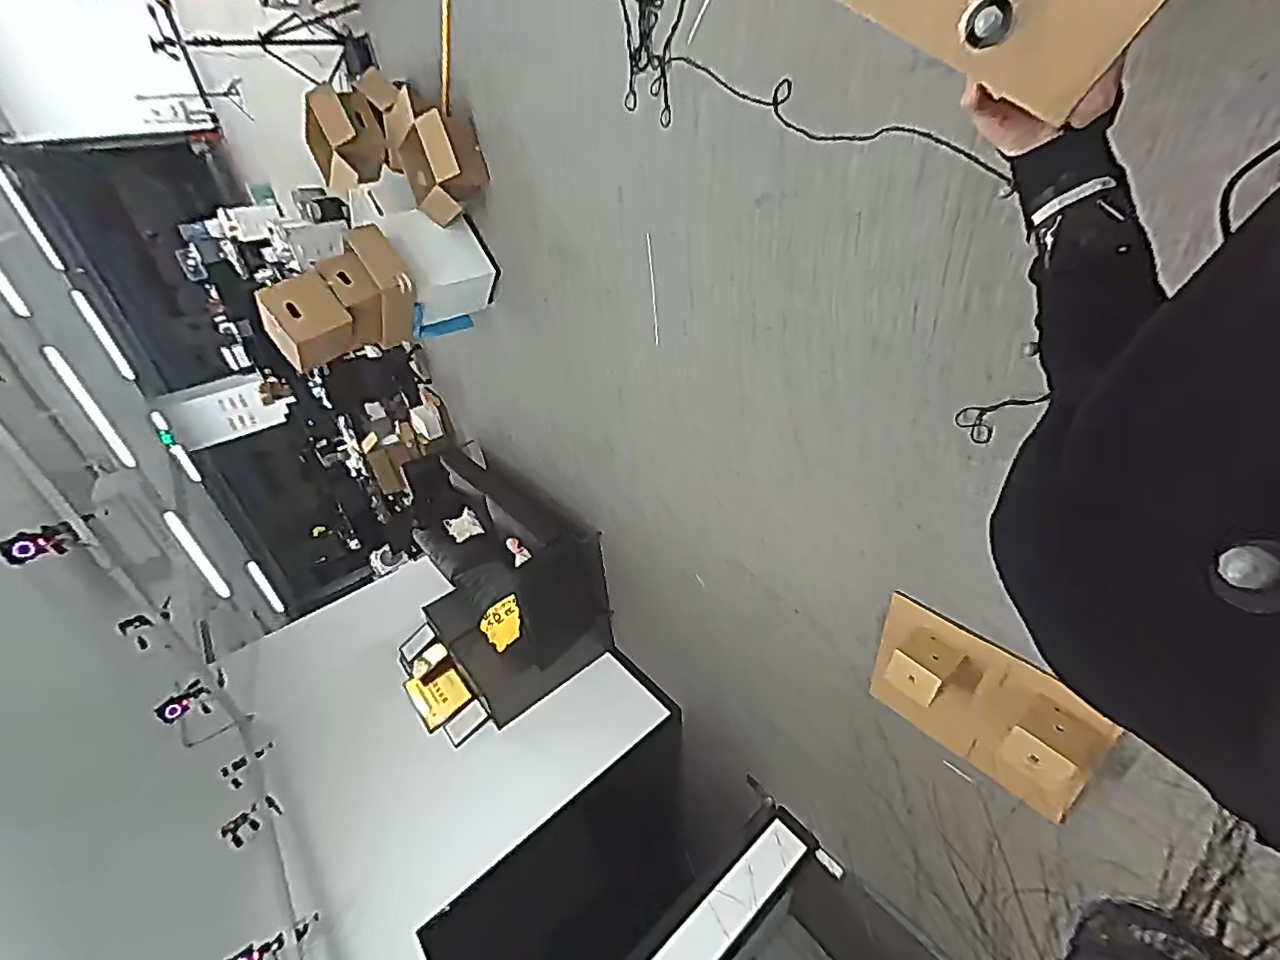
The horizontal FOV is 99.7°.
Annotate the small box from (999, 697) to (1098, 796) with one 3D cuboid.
[{"bbox_3d":[1.236,0.796,1.631,0.168,0.176,0.179,36,141,38],"label":"small box"}]

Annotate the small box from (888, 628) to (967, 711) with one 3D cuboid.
[{"bbox_3d":[0.998,0.649,1.876,0.168,0.176,0.179,35,141,39],"label":"small box"}]

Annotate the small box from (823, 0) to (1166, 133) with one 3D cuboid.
[{"bbox_3d":[0.233,-0.335,0.301,0.168,0.179,0.176,35,138,7],"label":"small box"}]
